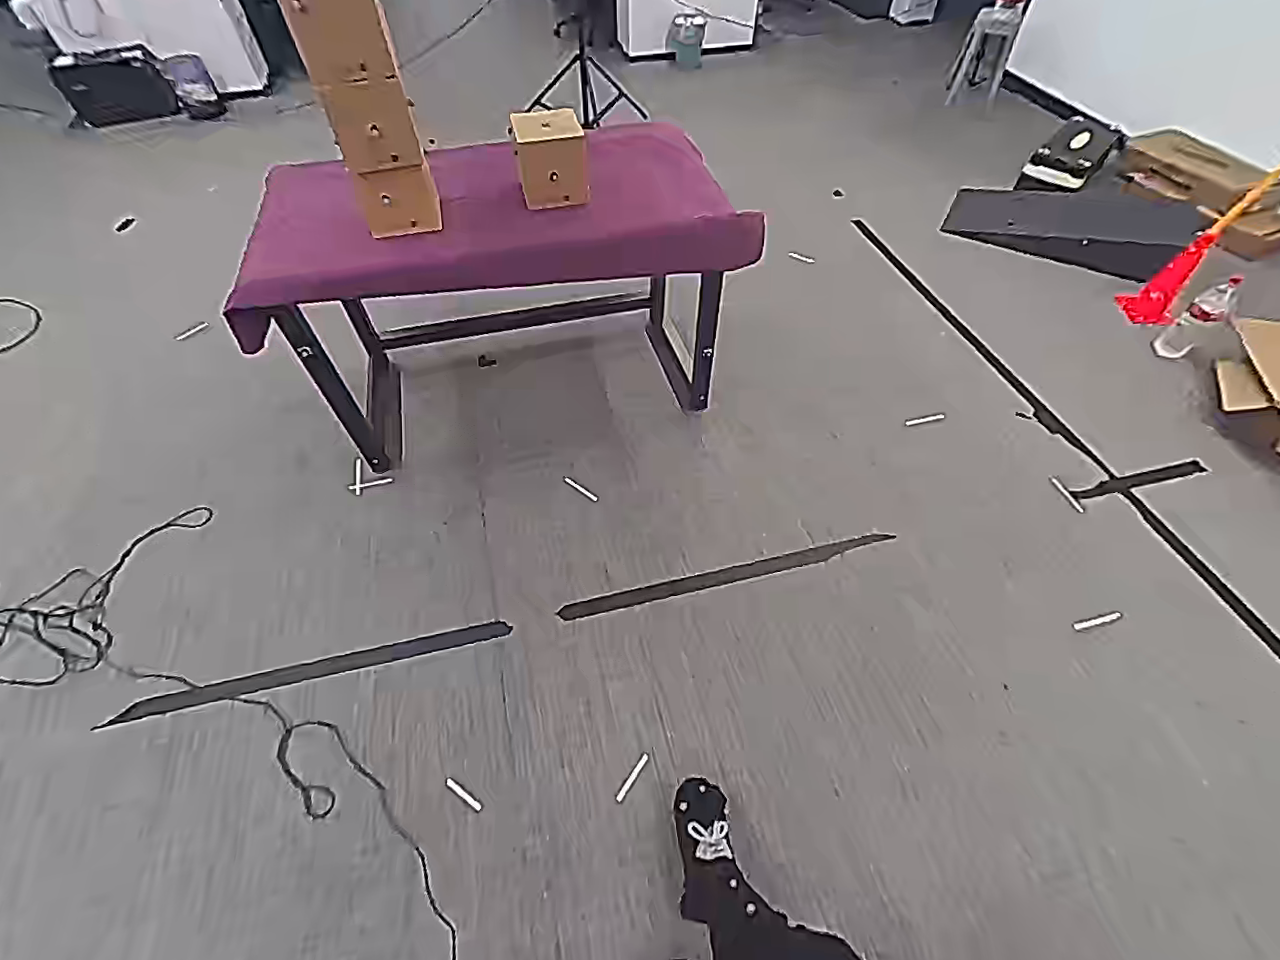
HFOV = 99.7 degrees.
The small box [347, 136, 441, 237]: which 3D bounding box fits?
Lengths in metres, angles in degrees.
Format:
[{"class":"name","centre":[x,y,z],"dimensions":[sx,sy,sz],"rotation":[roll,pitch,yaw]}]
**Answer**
[{"class":"small box","centre":[-0.602,-0.721,1.340],"dimensions":[0.168,0.176,0.179],"rotation":[-13,54,-9]}]

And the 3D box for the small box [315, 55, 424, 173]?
[{"class":"small box","centre":[-0.593,-0.802,1.197],"dimensions":[0.168,0.176,0.179],"rotation":[-16,55,-12]}]

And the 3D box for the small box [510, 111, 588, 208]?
[{"class":"small box","centre":[-0.236,-0.833,1.418],"dimensions":[0.168,0.176,0.179],"rotation":[-12,54,-9]}]
